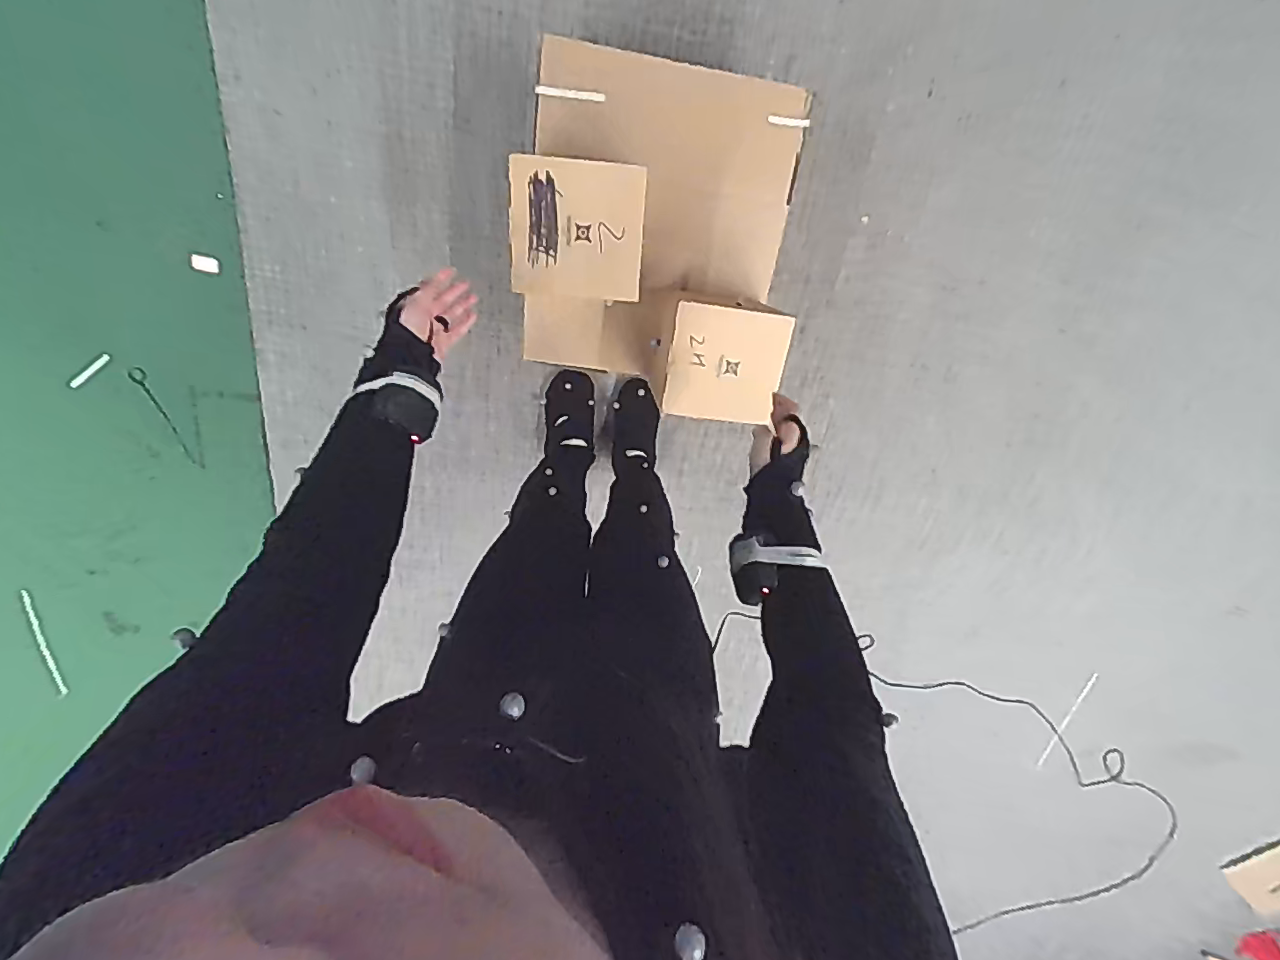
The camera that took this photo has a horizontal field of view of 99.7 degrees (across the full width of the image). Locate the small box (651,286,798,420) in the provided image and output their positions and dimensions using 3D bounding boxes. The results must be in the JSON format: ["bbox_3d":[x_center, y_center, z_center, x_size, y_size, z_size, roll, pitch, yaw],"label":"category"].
[{"bbox_3d":[0.123,-0.208,0.862,0.179,0.176,0.168,6,114,-8],"label":"small box"}]
